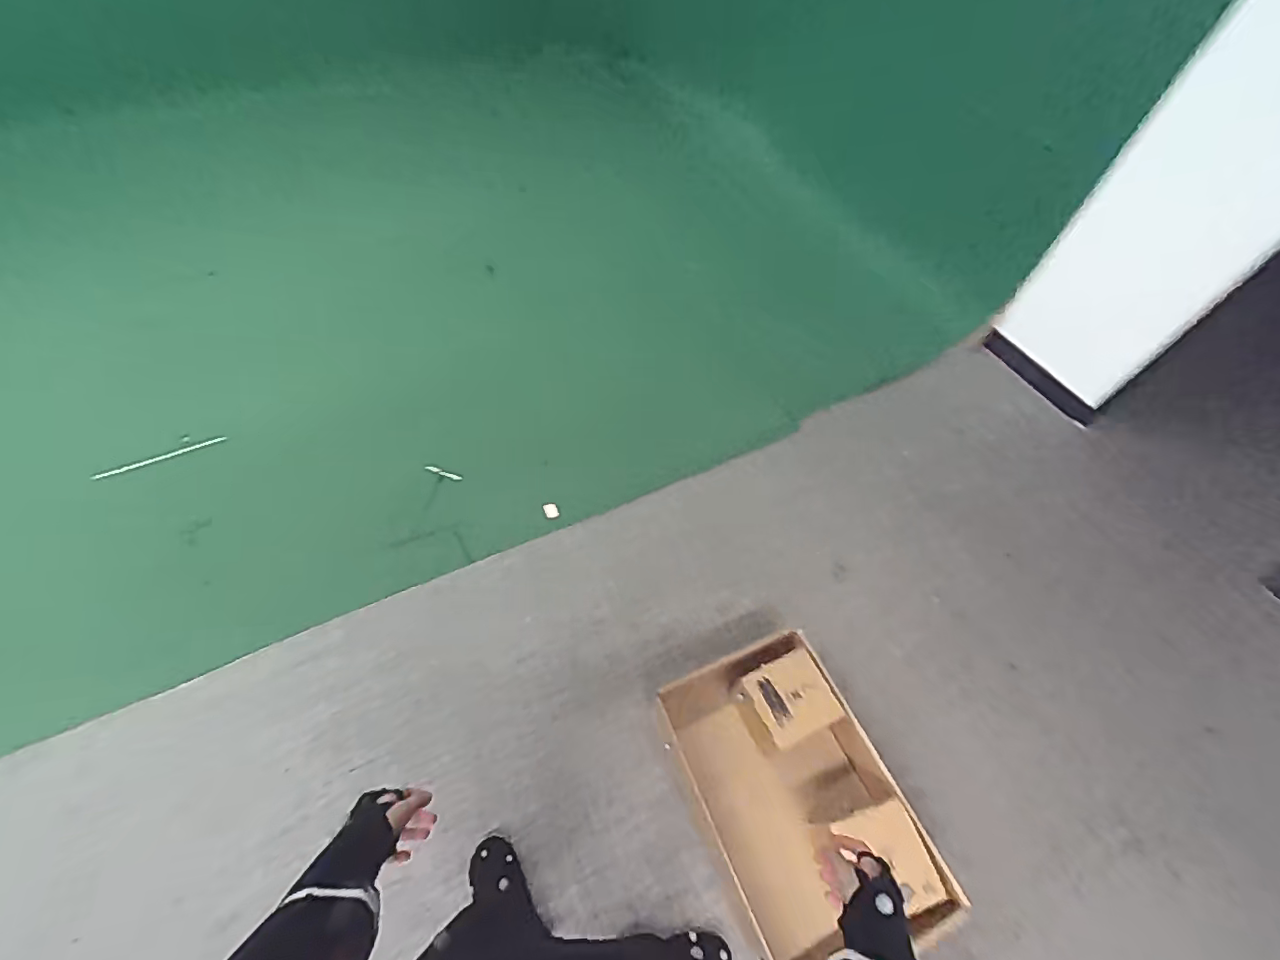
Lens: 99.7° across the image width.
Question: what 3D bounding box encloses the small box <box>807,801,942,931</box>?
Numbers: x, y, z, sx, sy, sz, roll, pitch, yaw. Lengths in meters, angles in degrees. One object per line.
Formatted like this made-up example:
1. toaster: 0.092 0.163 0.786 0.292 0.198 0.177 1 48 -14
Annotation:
1. small box: 0.466 0.786 1.110 0.168 0.176 0.179 -13 57 -8
